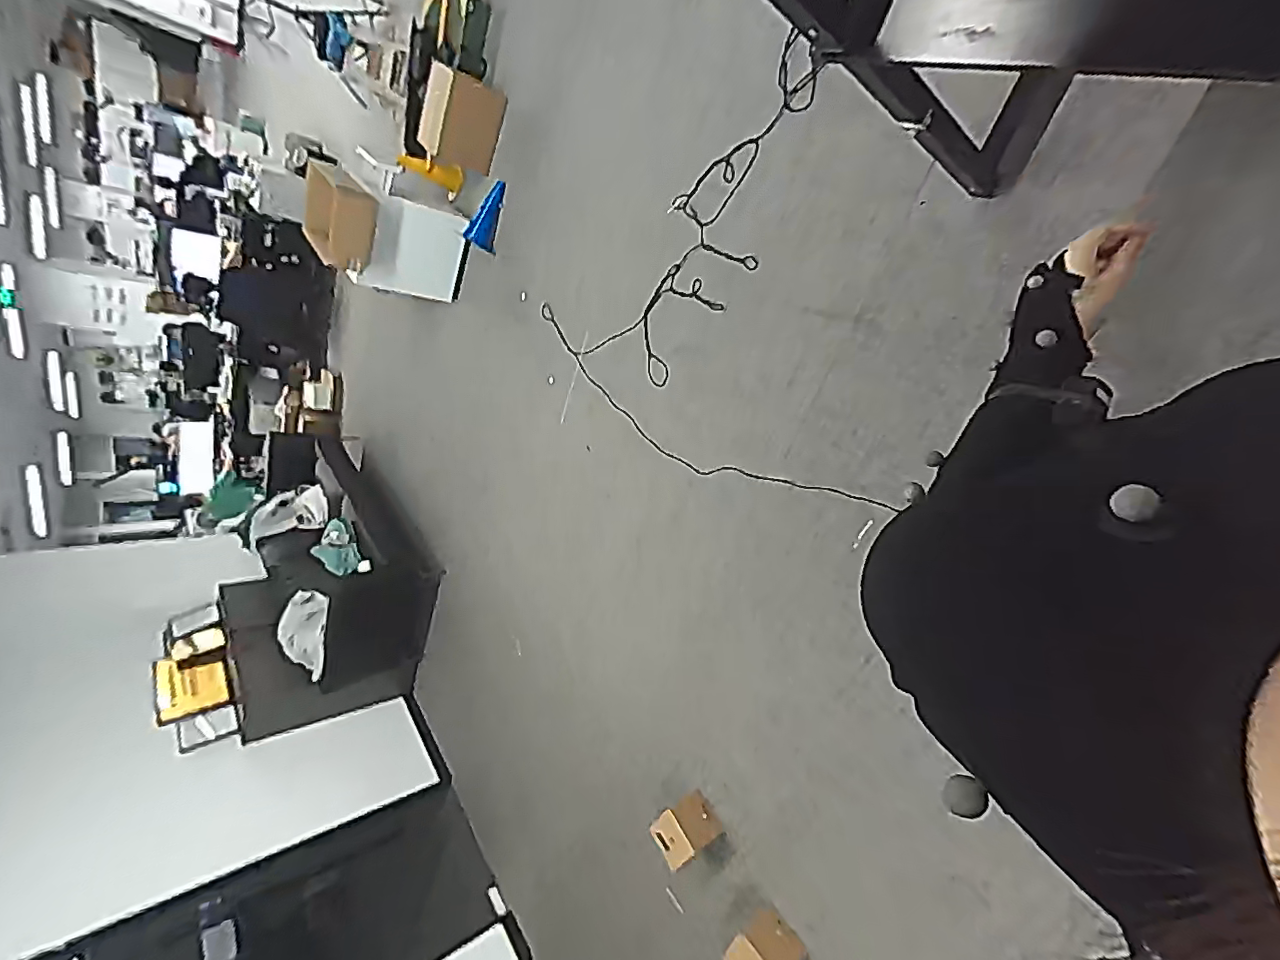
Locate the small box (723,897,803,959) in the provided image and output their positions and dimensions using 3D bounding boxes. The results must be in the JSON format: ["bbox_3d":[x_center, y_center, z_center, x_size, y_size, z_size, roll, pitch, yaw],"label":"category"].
[{"bbox_3d":[0.412,1.555,1.797,0.168,0.176,0.179,36,118,39],"label":"small box"}]

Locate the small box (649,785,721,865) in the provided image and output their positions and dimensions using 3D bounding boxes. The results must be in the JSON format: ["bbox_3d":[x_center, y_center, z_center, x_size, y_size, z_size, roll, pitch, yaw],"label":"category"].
[{"bbox_3d":[0.172,1.294,2.037,0.168,0.176,0.179,51,126,32],"label":"small box"}]
